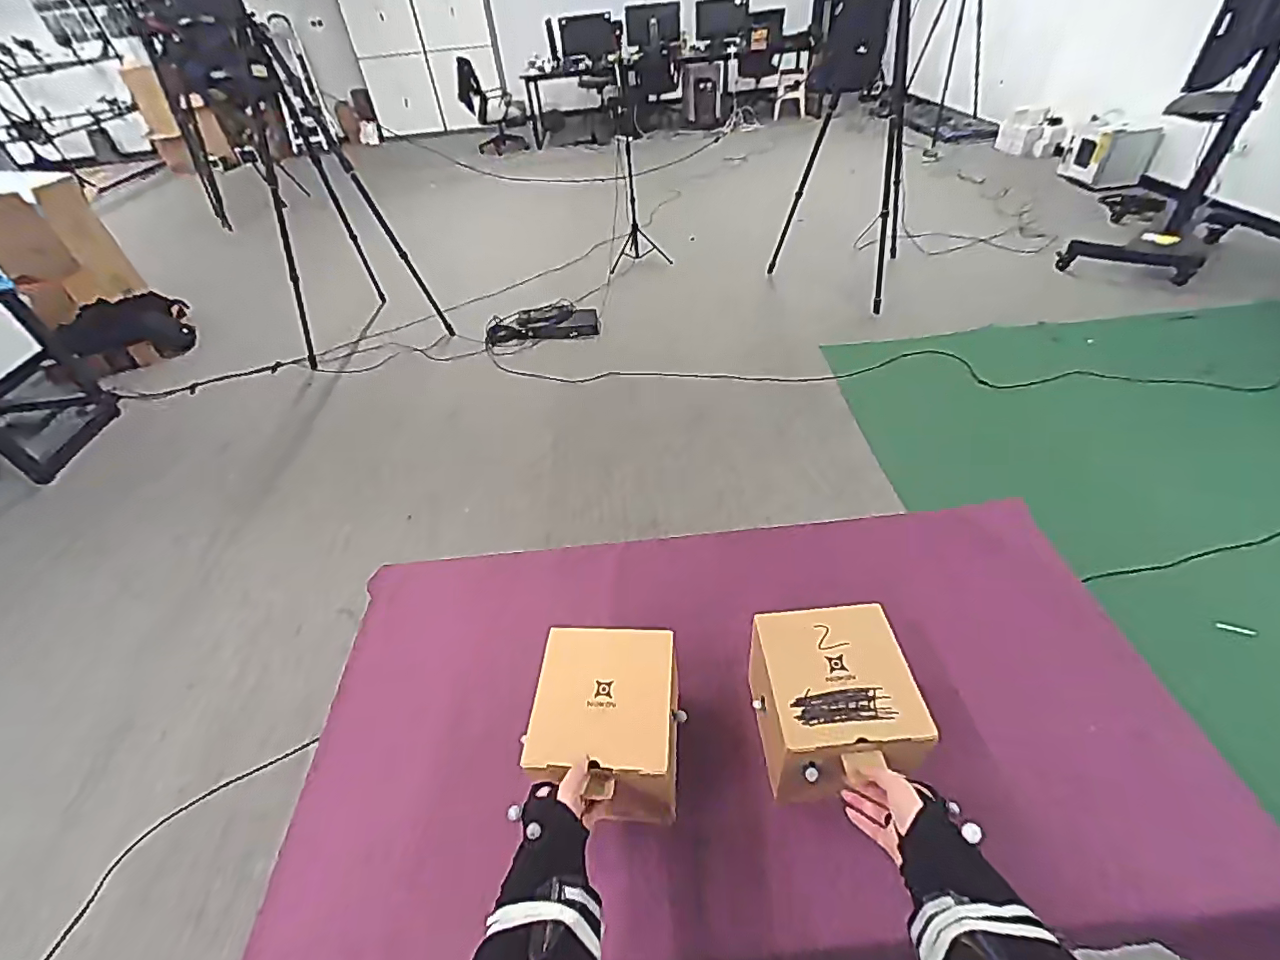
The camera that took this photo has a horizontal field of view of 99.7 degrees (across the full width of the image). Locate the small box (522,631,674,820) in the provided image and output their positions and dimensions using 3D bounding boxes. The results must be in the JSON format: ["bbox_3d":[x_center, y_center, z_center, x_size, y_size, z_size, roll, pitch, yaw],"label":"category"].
[{"bbox_3d":[-0.042,0.323,0.717,0.168,0.176,0.179,0,44,6],"label":"small box"}]
